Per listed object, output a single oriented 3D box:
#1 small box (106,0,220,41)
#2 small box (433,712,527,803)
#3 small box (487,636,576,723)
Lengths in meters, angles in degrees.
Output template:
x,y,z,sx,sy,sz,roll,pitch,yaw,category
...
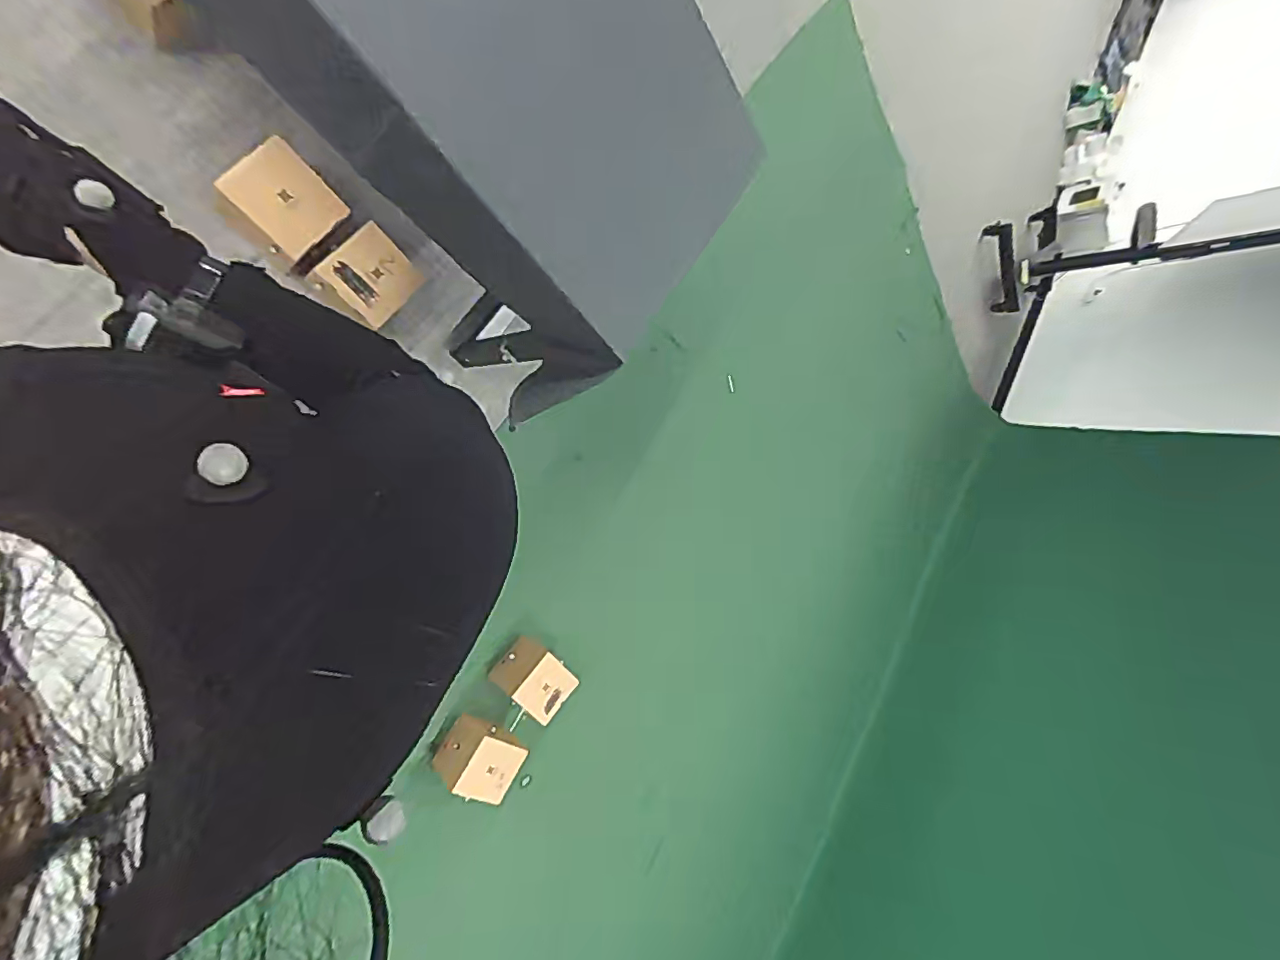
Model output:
x,y,z,sx,sy,sz,roll,pitch,yaw,category
-0.892,-0.948,0.972,0.179,0.176,0.168,-52,125,-23,small box
-0.480,0.816,1.605,0.179,0.176,0.168,43,70,-36,small box
-0.341,0.617,1.695,0.168,0.176,0.179,-49,123,-25,small box
